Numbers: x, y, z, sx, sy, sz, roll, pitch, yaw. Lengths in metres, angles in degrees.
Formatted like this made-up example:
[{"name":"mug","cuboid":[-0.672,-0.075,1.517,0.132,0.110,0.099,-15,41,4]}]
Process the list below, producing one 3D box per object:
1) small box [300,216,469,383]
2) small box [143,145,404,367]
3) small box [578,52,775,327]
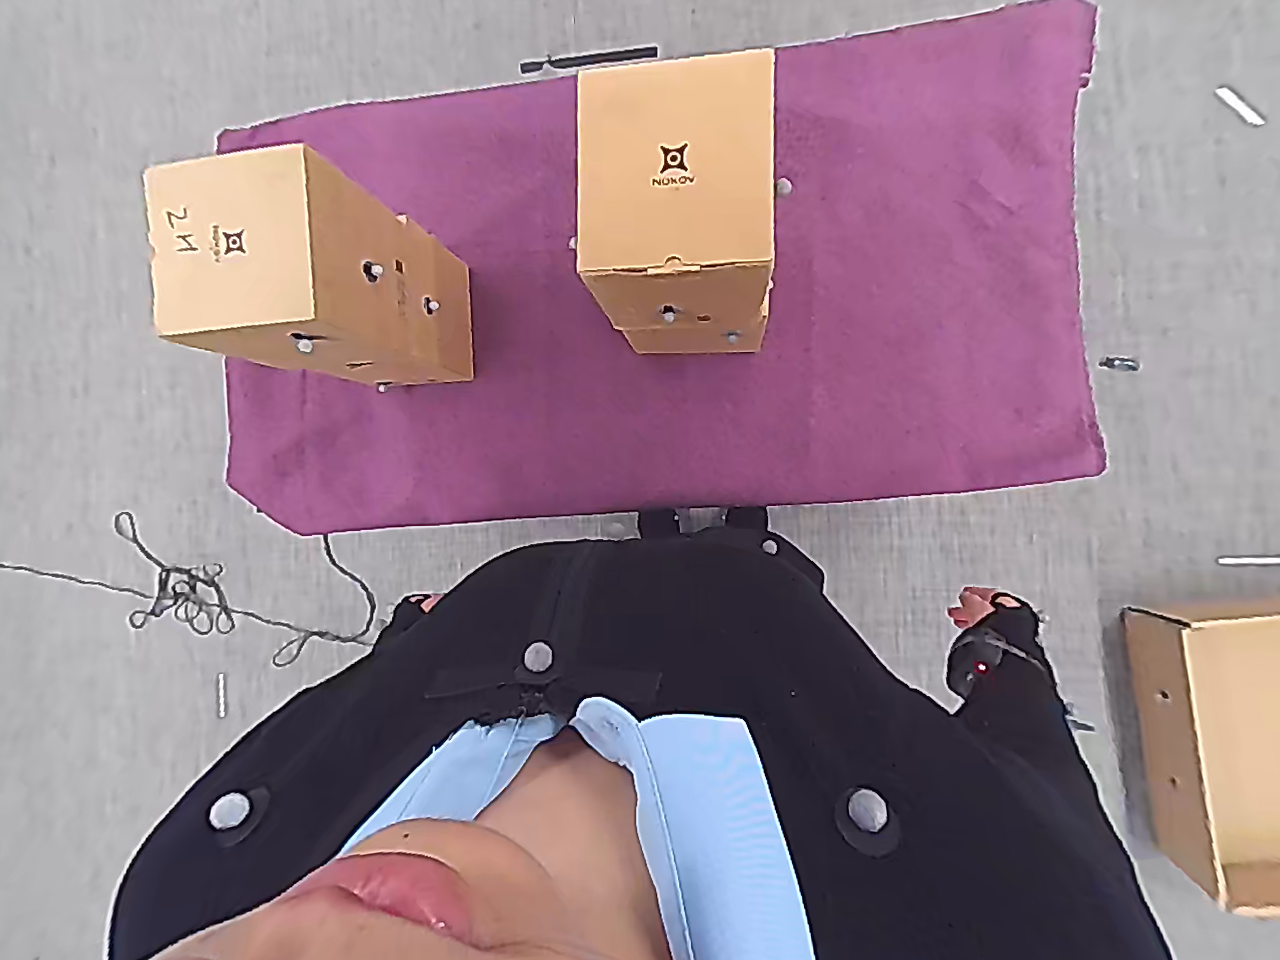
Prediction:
[{"name":"small box","cuboid":[-0.350,-0.234,0.750,0.168,0.176,0.179,-3,89,8]},{"name":"small box","cuboid":[-0.376,-0.224,0.587,0.179,0.176,0.168,-3,90,8]},{"name":"small box","cuboid":[0.039,-0.262,0.528,0.168,0.176,0.179,0,90,8]}]
